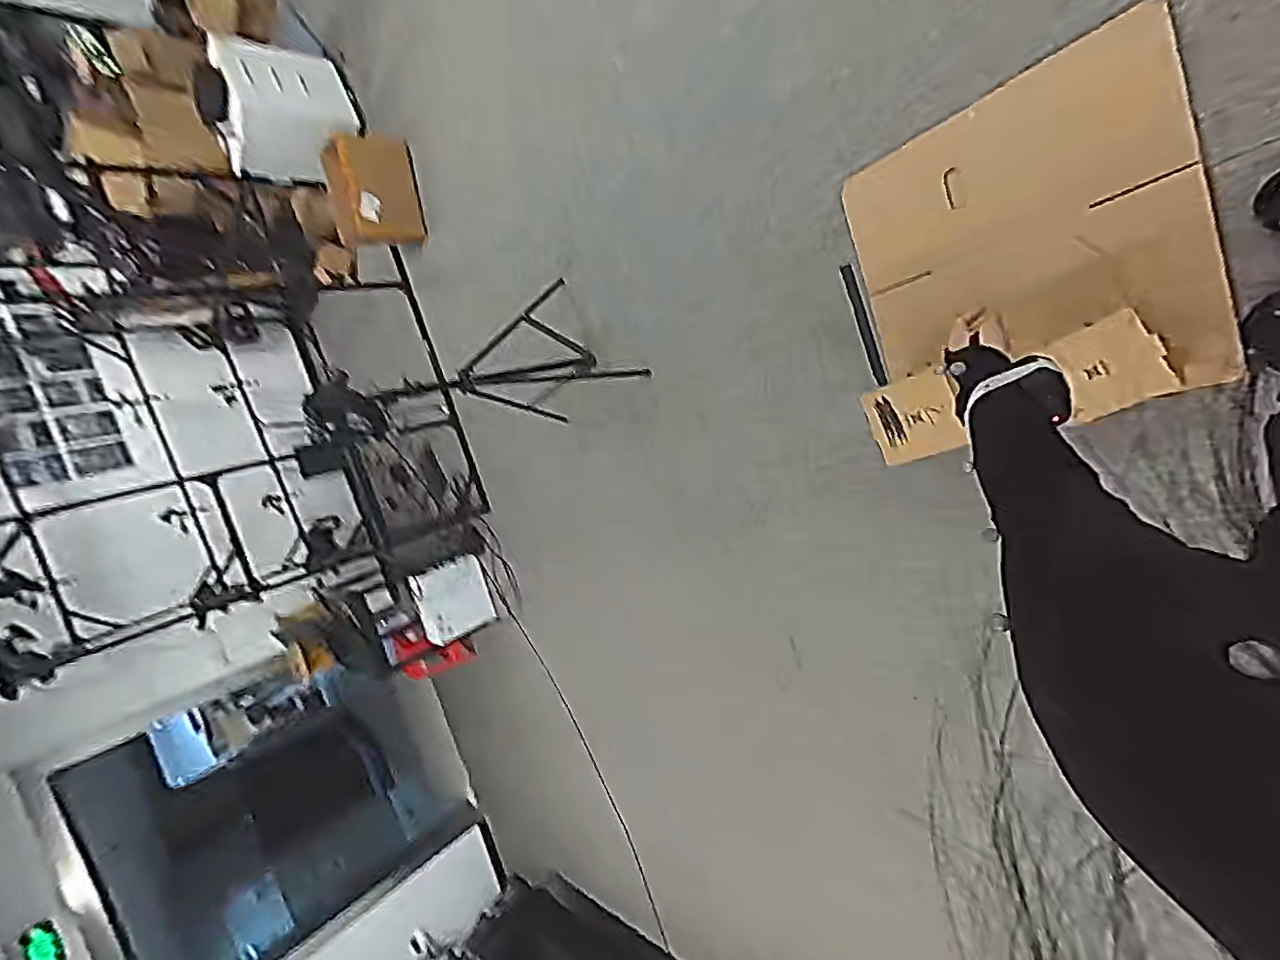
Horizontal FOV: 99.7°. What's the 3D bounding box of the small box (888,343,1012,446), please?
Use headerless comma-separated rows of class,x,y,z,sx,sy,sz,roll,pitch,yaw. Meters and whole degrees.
small box,0.719,-0.199,1.253,0.179,0.176,0.168,-27,87,49

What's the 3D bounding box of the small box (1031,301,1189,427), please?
small box,0.903,-0.226,1.042,0.179,0.176,0.168,-33,82,48
